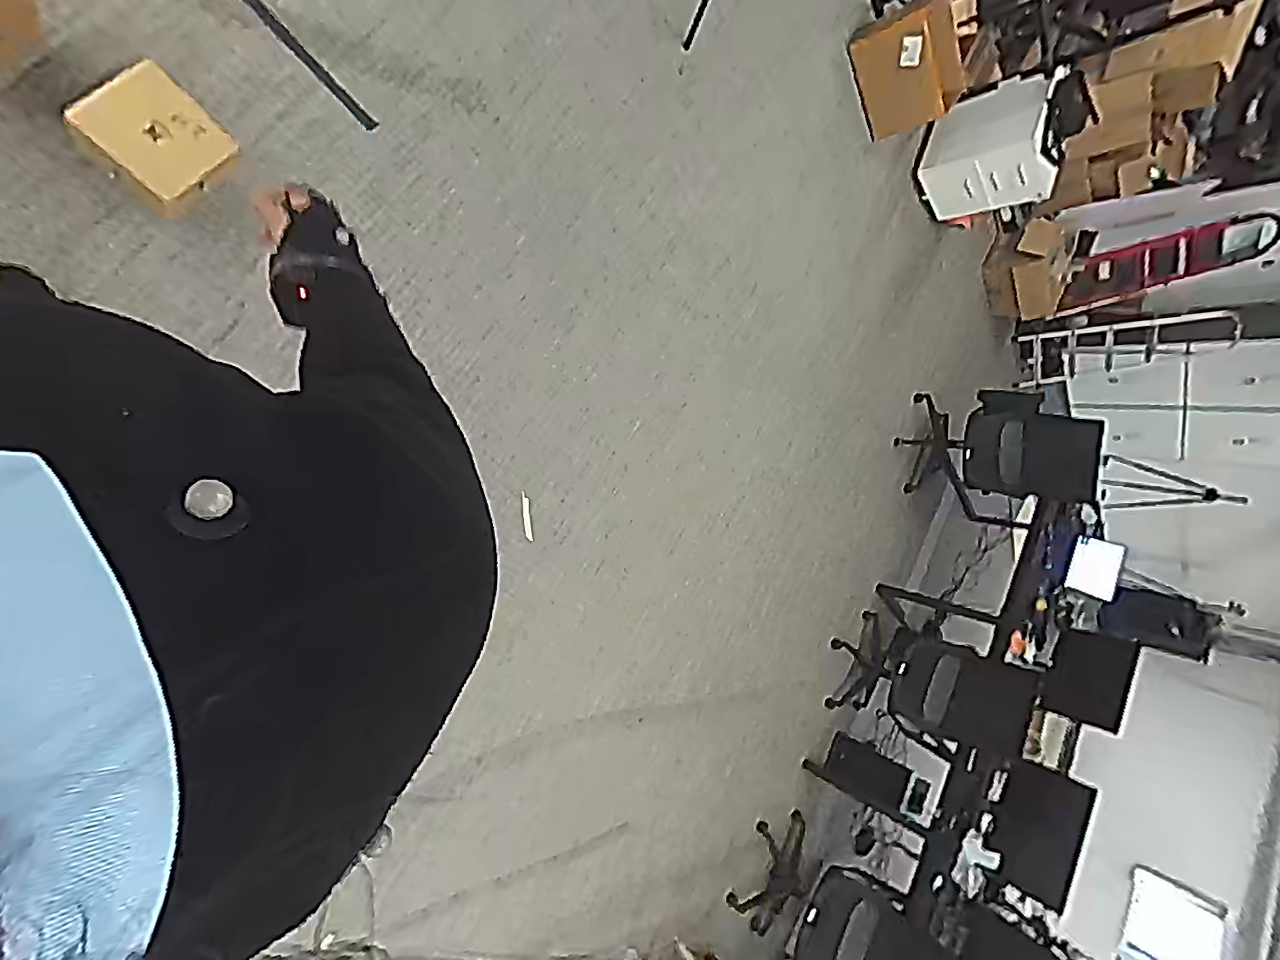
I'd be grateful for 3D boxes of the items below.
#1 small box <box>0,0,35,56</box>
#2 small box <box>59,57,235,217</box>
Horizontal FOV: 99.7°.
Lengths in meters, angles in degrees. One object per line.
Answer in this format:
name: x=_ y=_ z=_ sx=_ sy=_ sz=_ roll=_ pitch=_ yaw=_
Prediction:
small box: x=-1.092 y=-0.768 z=0.823 sx=0.168 sy=0.176 sz=0.179 roll=47 pitch=67 yaw=-36
small box: x=-0.904 y=-0.624 z=1.008 sx=0.168 sy=0.176 sz=0.179 roll=48 pitch=66 yaw=-37
